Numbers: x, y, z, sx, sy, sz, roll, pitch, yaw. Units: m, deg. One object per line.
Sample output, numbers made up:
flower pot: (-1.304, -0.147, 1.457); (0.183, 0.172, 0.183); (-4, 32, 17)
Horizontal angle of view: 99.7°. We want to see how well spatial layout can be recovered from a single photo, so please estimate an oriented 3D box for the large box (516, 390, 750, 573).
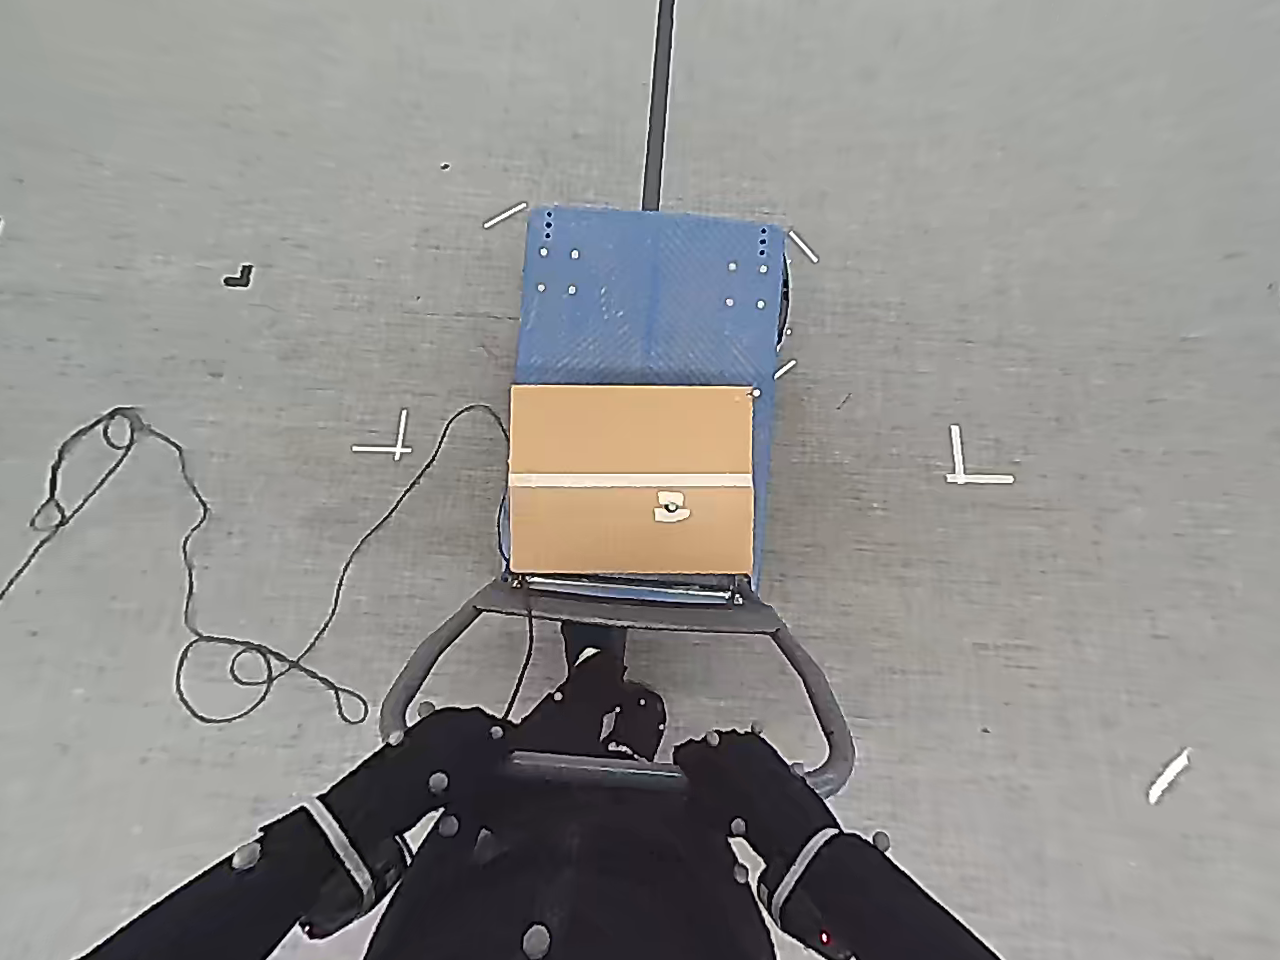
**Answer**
large box: (-0.016, 0.006, 1.069); (0.408, 0.320, 0.320); (0, 90, -1)
